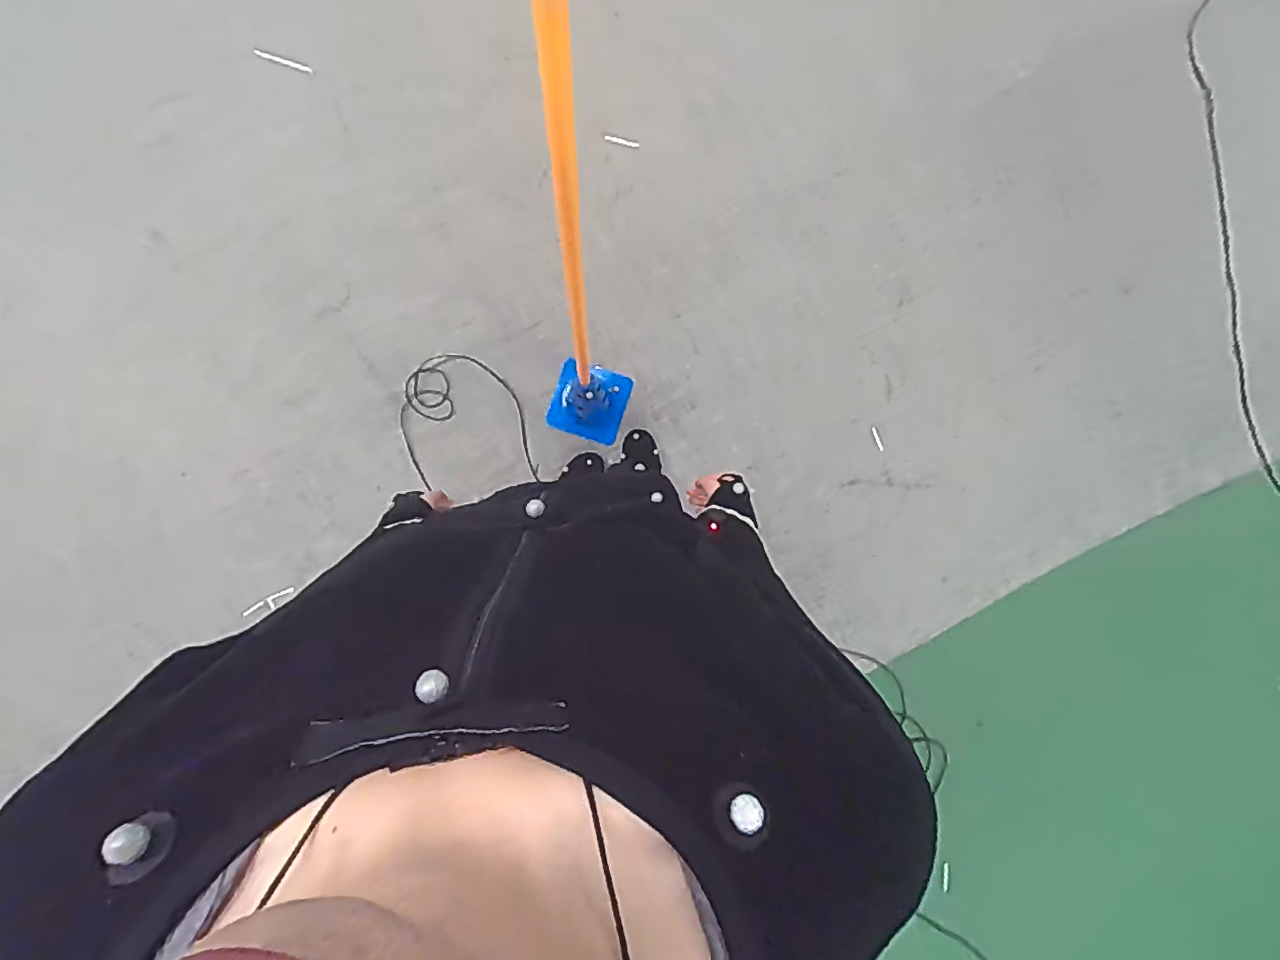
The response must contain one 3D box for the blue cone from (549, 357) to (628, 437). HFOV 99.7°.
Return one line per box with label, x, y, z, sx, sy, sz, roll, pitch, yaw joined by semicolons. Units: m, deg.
blue cone;-0.128;-0.224;1.302;0.192;0.380;0.193;18;89;-4
